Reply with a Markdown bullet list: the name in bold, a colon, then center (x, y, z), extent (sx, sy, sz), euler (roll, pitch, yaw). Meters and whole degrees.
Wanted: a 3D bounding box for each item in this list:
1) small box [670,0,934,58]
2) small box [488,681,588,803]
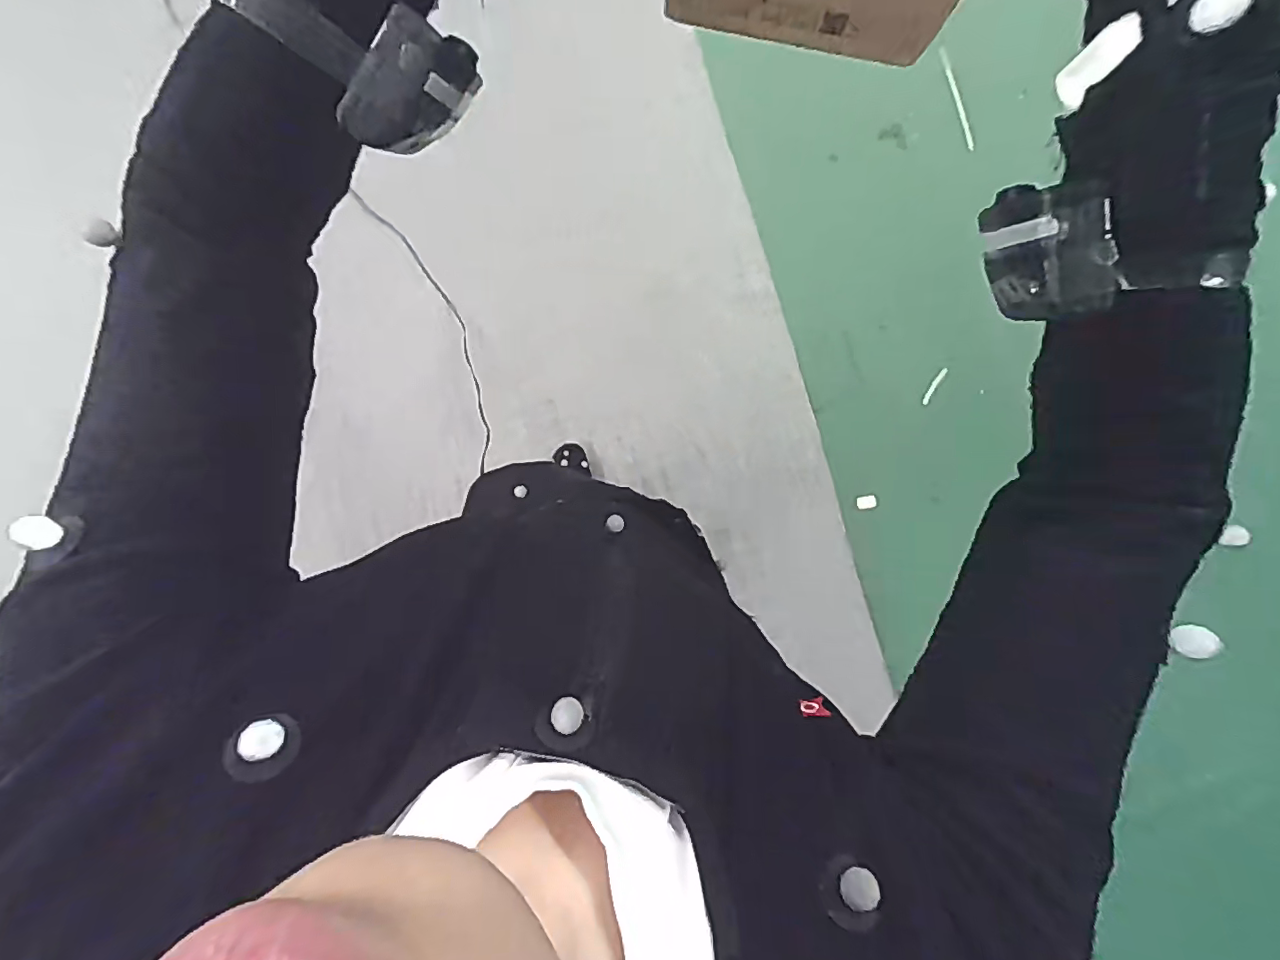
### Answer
- **small box**: center (0.105, -0.372, 0.270), extent (0.168, 0.176, 0.179), euler (9, 86, -1)
- **small box**: center (-0.218, 0.569, 1.198), extent (0.168, 0.176, 0.179), euler (-14, 84, -2)
